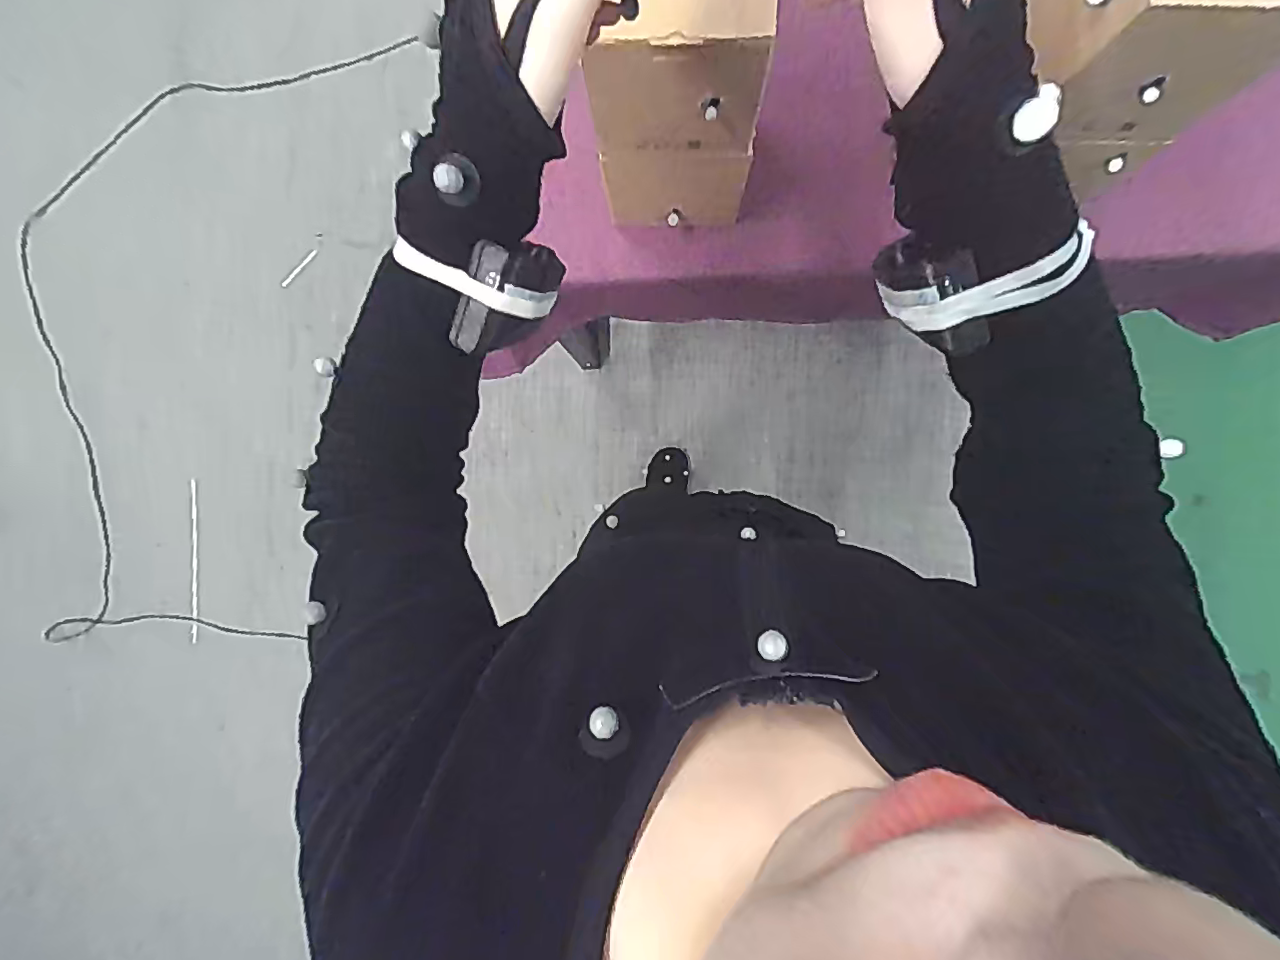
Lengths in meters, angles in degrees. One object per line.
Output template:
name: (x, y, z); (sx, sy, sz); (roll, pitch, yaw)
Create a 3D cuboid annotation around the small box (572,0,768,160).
small box: (0.033, -0.443, 0.528); (0.168, 0.176, 0.179); (2, 90, 3)

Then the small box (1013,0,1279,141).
small box: (0.483, -0.448, 0.501); (0.168, 0.176, 0.179); (4, 90, 3)

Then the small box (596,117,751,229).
small box: (0.041, -0.439, 0.692); (0.179, 0.176, 0.168); (1, 90, 3)

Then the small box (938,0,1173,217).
small box: (0.493, -0.443, 0.666); (0.179, 0.176, 0.168); (2, 90, 3)
